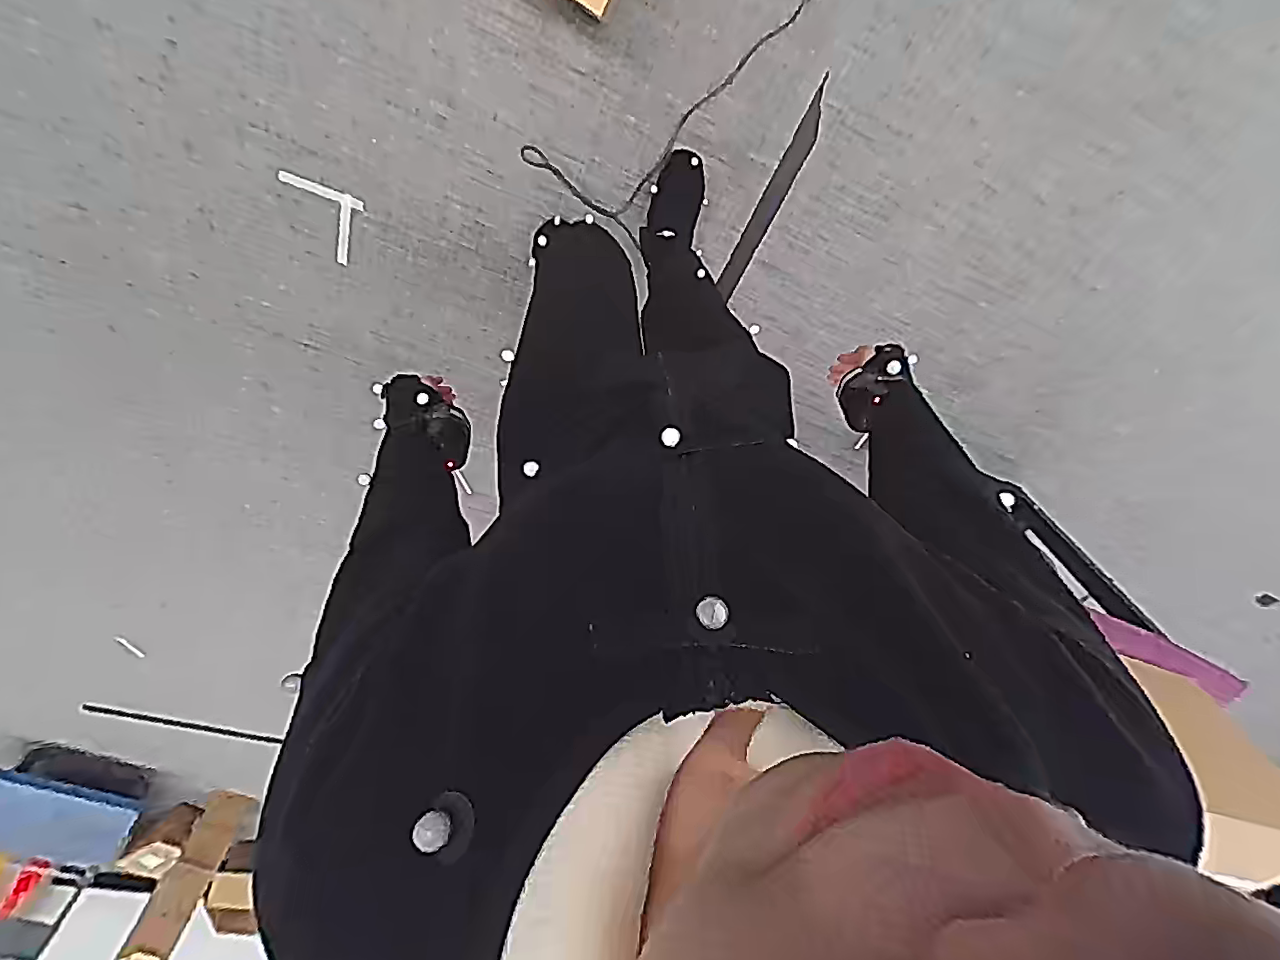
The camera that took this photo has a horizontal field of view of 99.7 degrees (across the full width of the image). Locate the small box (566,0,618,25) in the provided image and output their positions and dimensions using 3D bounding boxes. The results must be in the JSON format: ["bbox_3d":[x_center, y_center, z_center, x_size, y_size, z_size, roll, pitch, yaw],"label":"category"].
[{"bbox_3d":[-0.093,-0.911,0.905,0.168,0.176,0.179,25,121,-18],"label":"small box"}]
